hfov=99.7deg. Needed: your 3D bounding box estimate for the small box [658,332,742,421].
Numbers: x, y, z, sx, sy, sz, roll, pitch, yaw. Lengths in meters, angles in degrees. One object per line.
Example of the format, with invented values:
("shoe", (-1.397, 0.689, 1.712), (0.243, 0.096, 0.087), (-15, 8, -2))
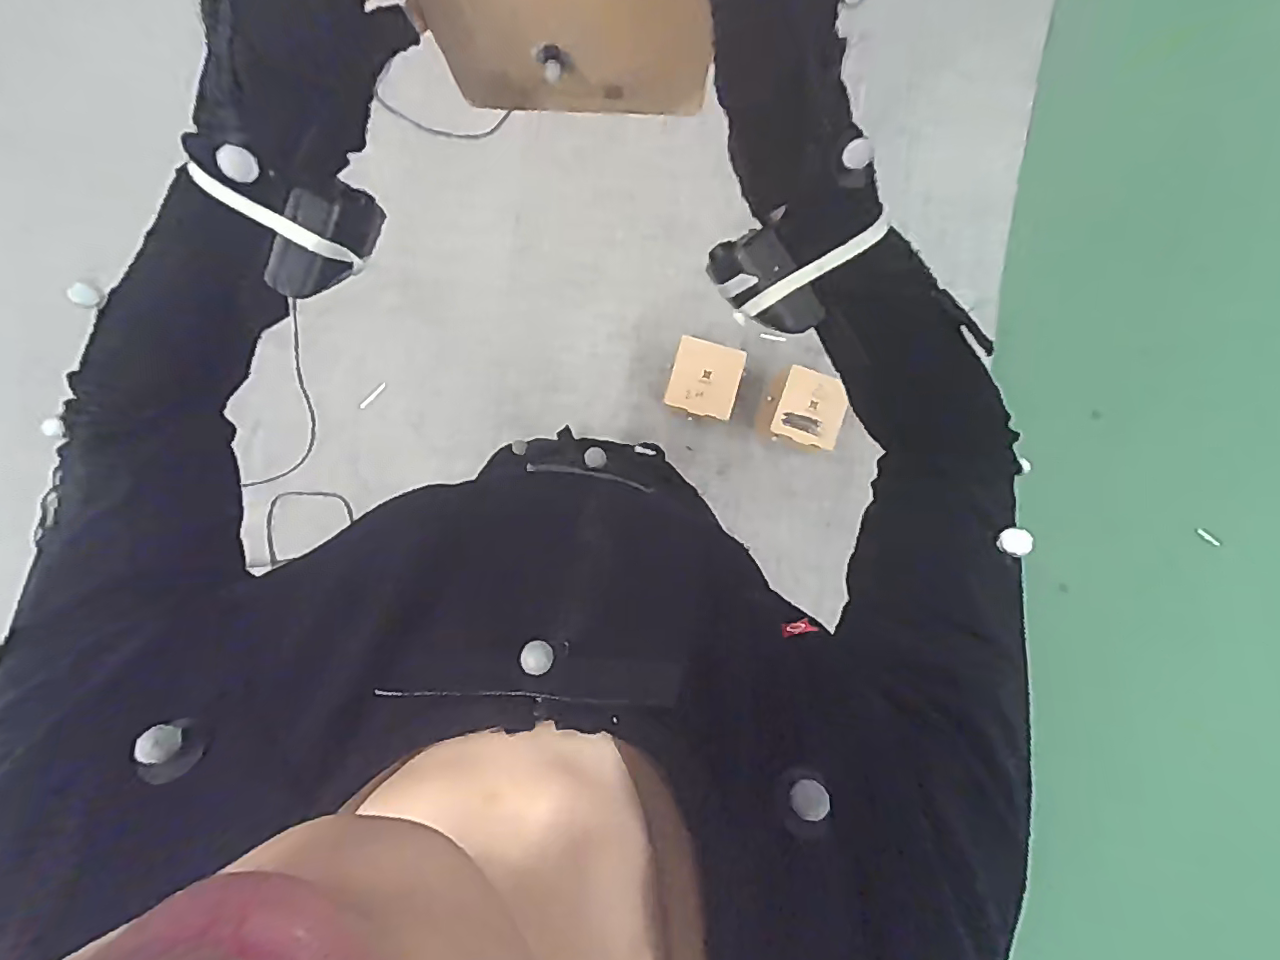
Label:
("small box", (0.145, -0.256, 1.383), (0.168, 0.176, 0.179), (15, 93, -2))
